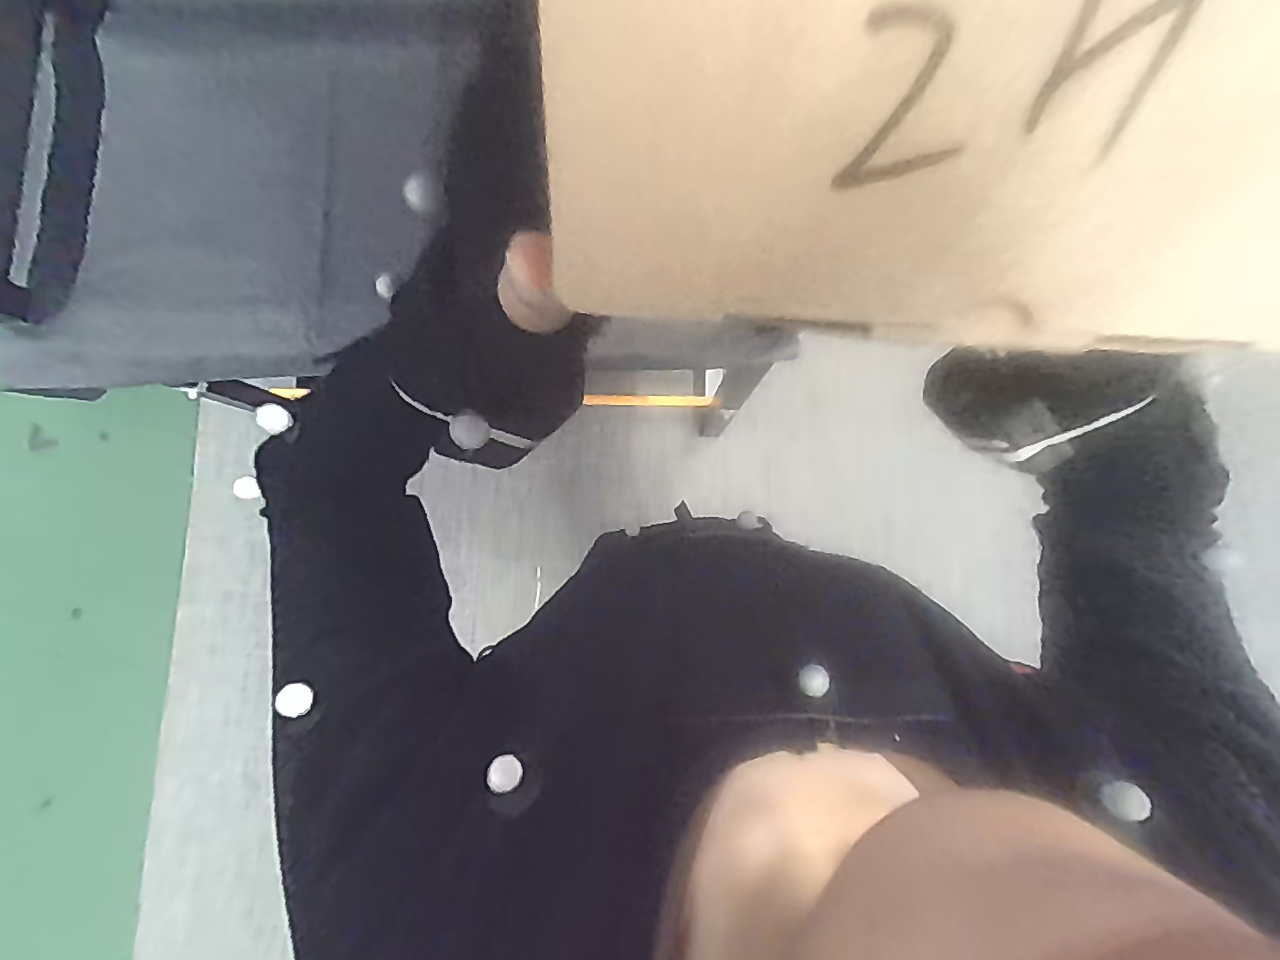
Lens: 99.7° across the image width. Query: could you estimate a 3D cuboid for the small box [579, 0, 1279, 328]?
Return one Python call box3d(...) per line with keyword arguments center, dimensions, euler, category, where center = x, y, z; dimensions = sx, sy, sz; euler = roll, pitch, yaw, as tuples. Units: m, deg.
box3d(center=(0.076, -0.150, 0.107), dimensions=(0.168, 0.179, 0.176), euler=(3, 42, -2), category="small box")
